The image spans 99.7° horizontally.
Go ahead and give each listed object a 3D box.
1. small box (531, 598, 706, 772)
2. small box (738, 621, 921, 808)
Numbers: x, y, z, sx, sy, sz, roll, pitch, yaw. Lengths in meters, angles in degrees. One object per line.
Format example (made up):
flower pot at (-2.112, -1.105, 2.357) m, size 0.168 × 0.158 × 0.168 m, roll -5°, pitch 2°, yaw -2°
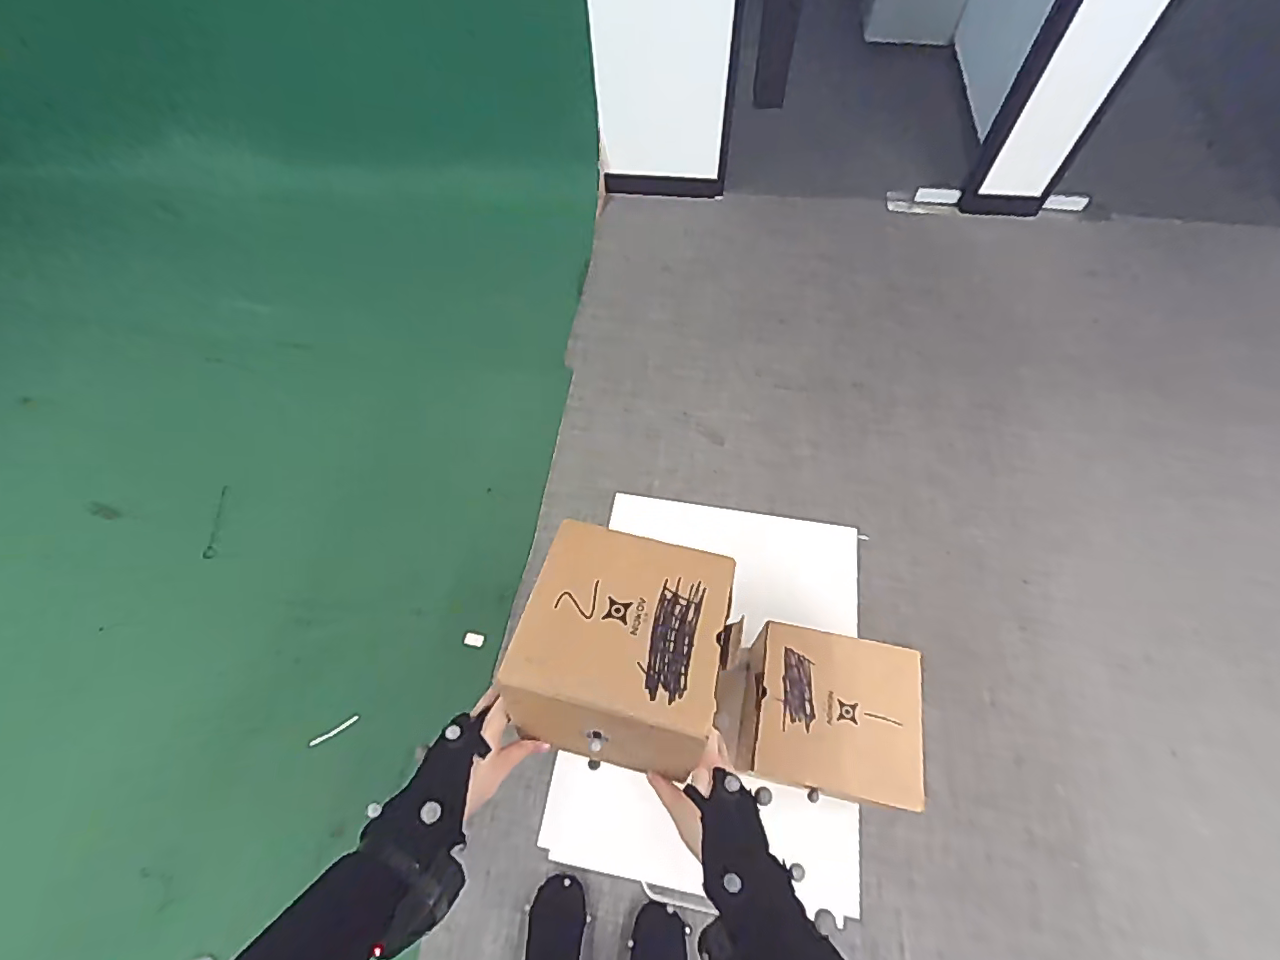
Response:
small box at (-0.018, 0.266, 0.691) m, size 0.179 × 0.176 × 0.168 m, roll 9°, pitch 63°, yaw 6°
small box at (0.223, 0.291, 0.670) m, size 0.179 × 0.176 × 0.168 m, roll 10°, pitch 63°, yaw 7°
